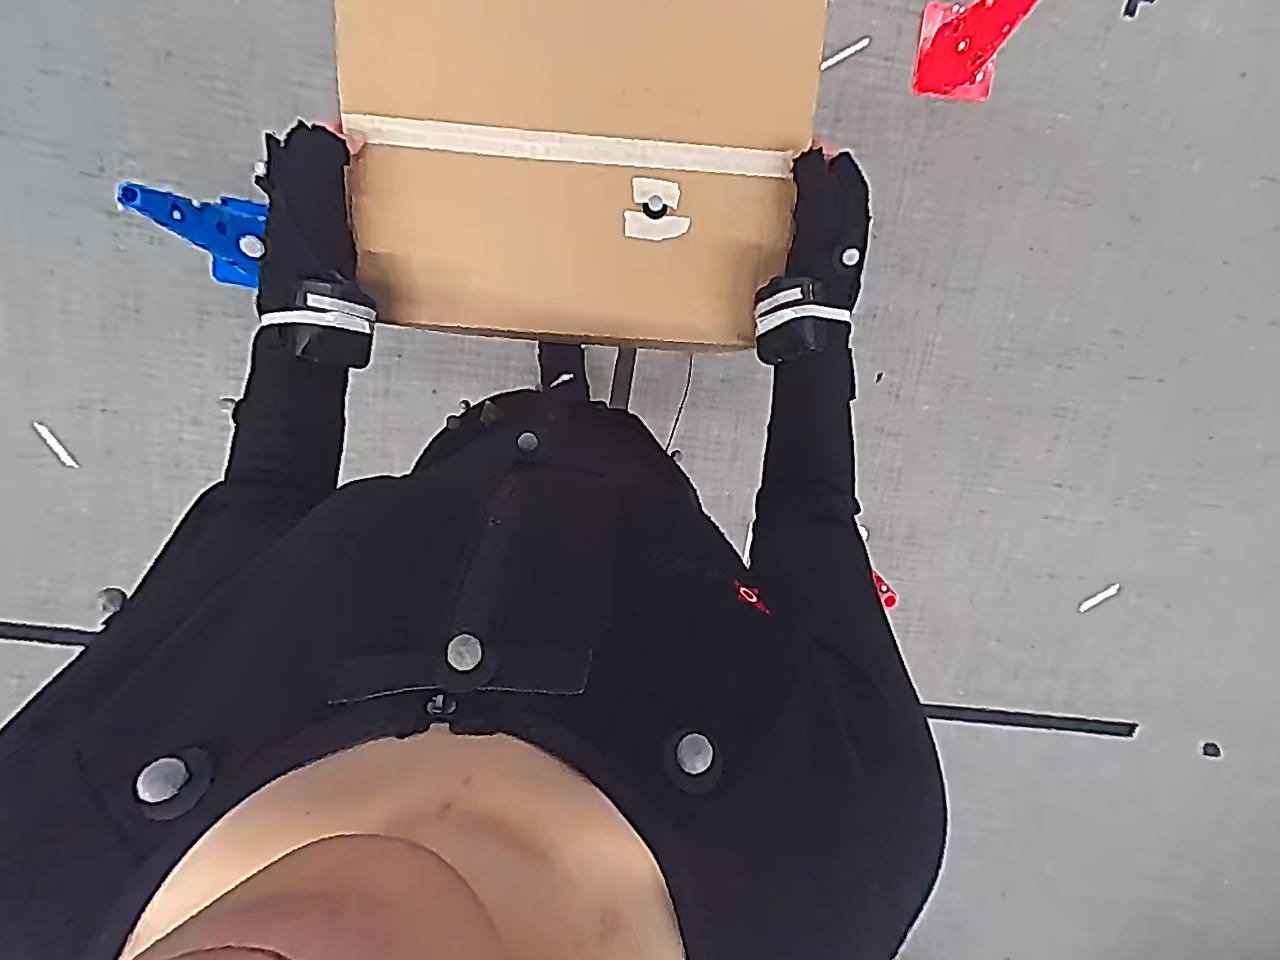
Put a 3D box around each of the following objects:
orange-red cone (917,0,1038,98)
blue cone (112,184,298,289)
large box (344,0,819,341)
[{"bbox_3d":[0.793,-1.027,1.152,0.198,0.360,0.199,5,98,-5],"label":"orange-red cone"},{"bbox_3d":[-0.930,-0.545,1.156,0.192,0.380,0.193,11,99,-4],"label":"blue cone"},{"bbox_3d":[-0.061,-0.333,0.619,0.408,0.320,0.320,3,103,-5],"label":"large box"}]
